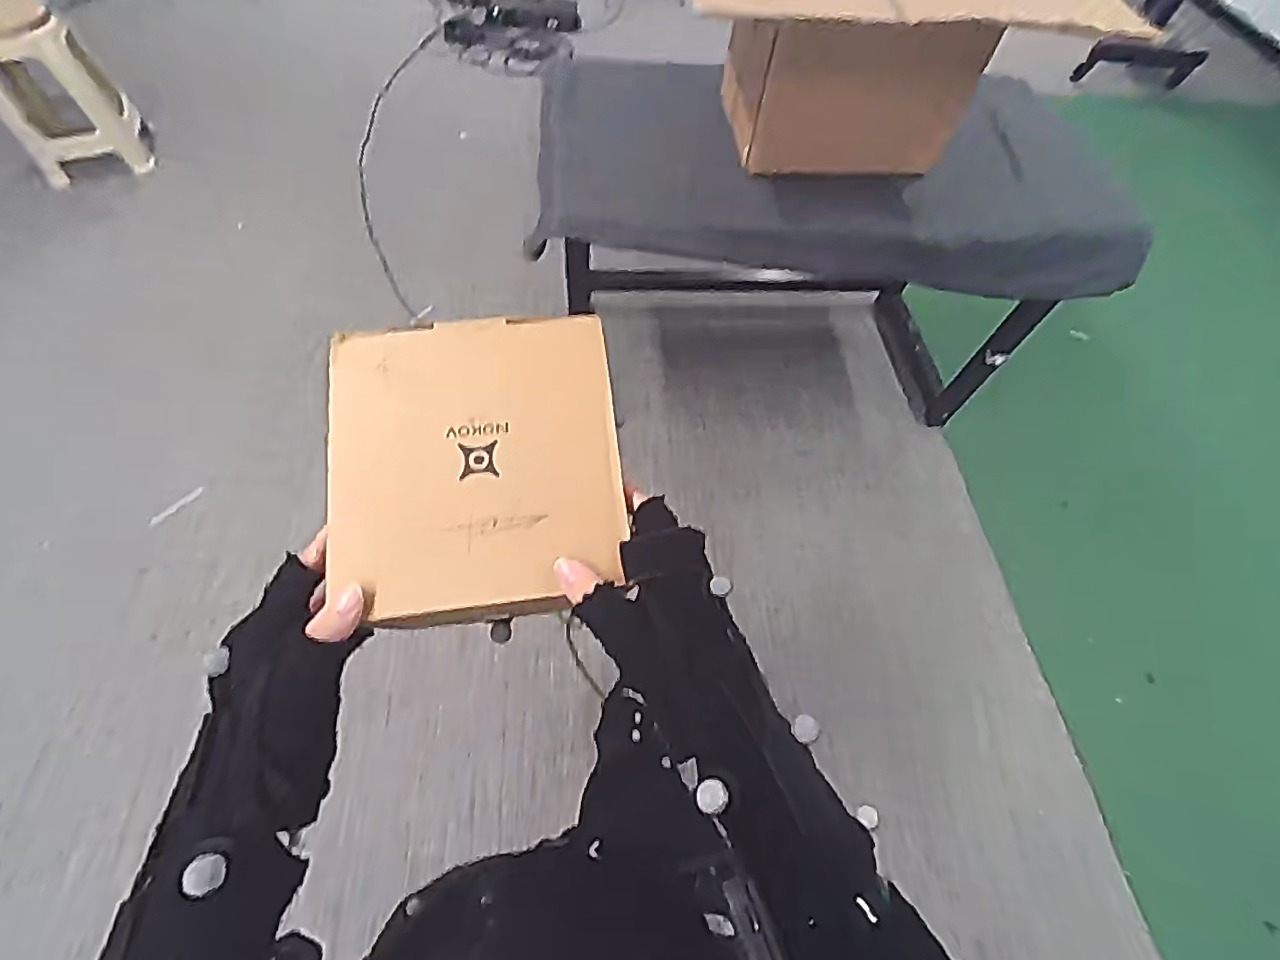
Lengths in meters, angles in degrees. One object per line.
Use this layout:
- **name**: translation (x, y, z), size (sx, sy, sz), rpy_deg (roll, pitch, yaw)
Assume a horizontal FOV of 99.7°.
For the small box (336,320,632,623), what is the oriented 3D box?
- **small box**: translation (-0.102, 0.005, 0.403), size (0.168, 0.176, 0.179), rpy_deg (-6, 74, -7)
